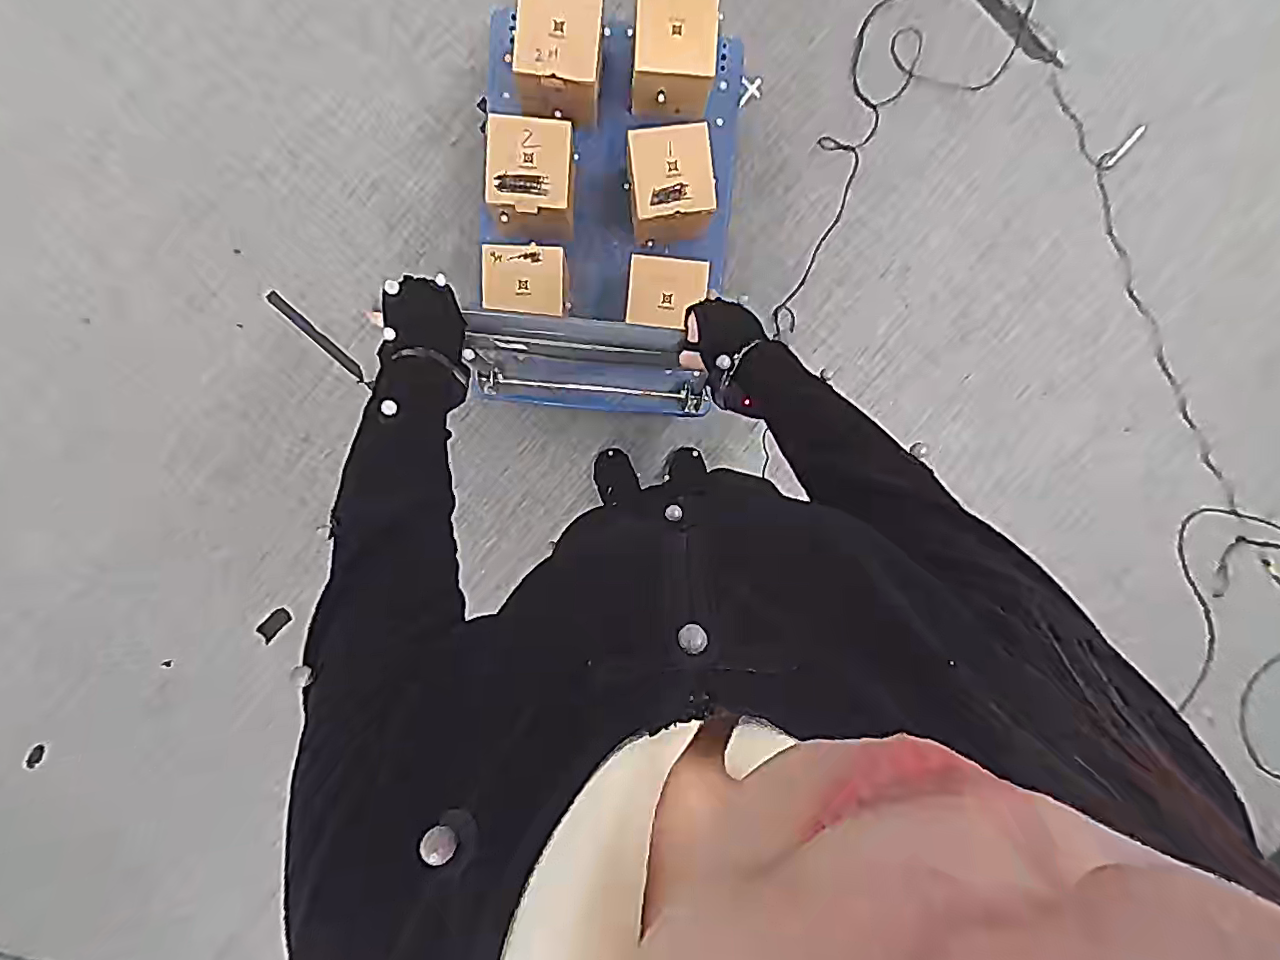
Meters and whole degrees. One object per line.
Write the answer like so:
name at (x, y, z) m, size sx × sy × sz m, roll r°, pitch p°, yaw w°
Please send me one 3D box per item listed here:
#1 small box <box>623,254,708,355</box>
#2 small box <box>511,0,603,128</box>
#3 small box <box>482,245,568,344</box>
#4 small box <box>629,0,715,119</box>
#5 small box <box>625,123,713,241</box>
small box at (0.050, -0.383, 1.209) m, size 0.168 × 0.176 × 0.179 m, roll 5°, pitch 94°, yaw -4°
small box at (-0.170, -0.891, 1.144) m, size 0.168 × 0.176 × 0.179 m, roll 6°, pitch 96°, yaw -4°
small box at (-0.247, -0.399, 1.189) m, size 0.168 × 0.176 × 0.179 m, roll 1°, pitch 96°, yaw -4°
small box at (0.064, -0.911, 1.159) m, size 0.168 × 0.176 × 0.179 m, roll 1°, pitch 95°, yaw -3°
small box at (0.058, -0.639, 1.184) m, size 0.168 × 0.176 × 0.179 m, roll -7°, pitch 95°, yaw -3°
